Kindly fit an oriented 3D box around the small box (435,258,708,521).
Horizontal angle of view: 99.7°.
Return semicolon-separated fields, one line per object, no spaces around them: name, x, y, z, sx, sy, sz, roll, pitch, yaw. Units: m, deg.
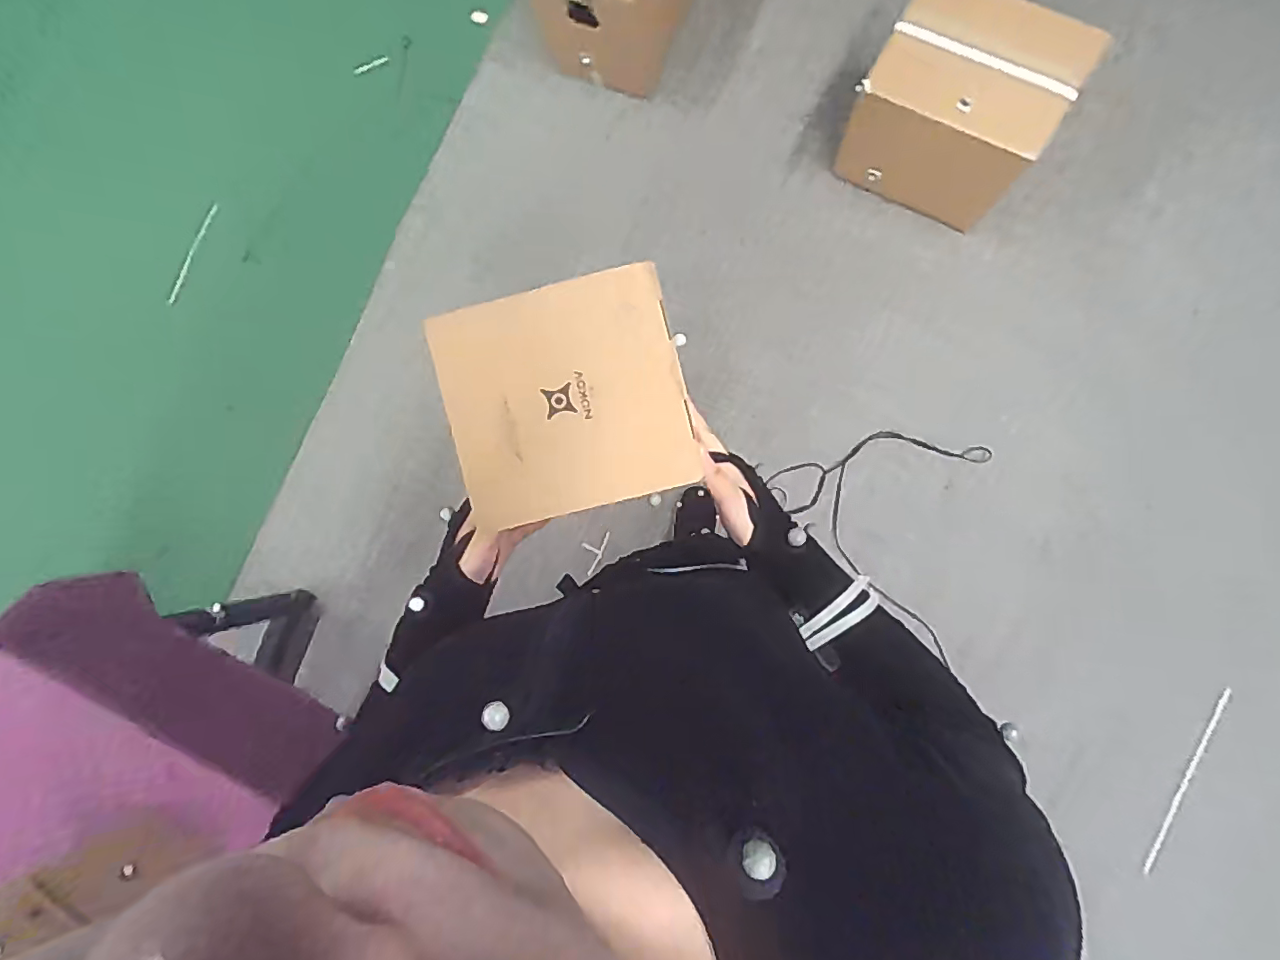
small box;-0.047;-0.069;0.475;0.179;0.176;0.168;-12;92;4

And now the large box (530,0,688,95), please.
large box;-0.063;-1.363;1.456;0.320;0.320;0.408;24;89;9
